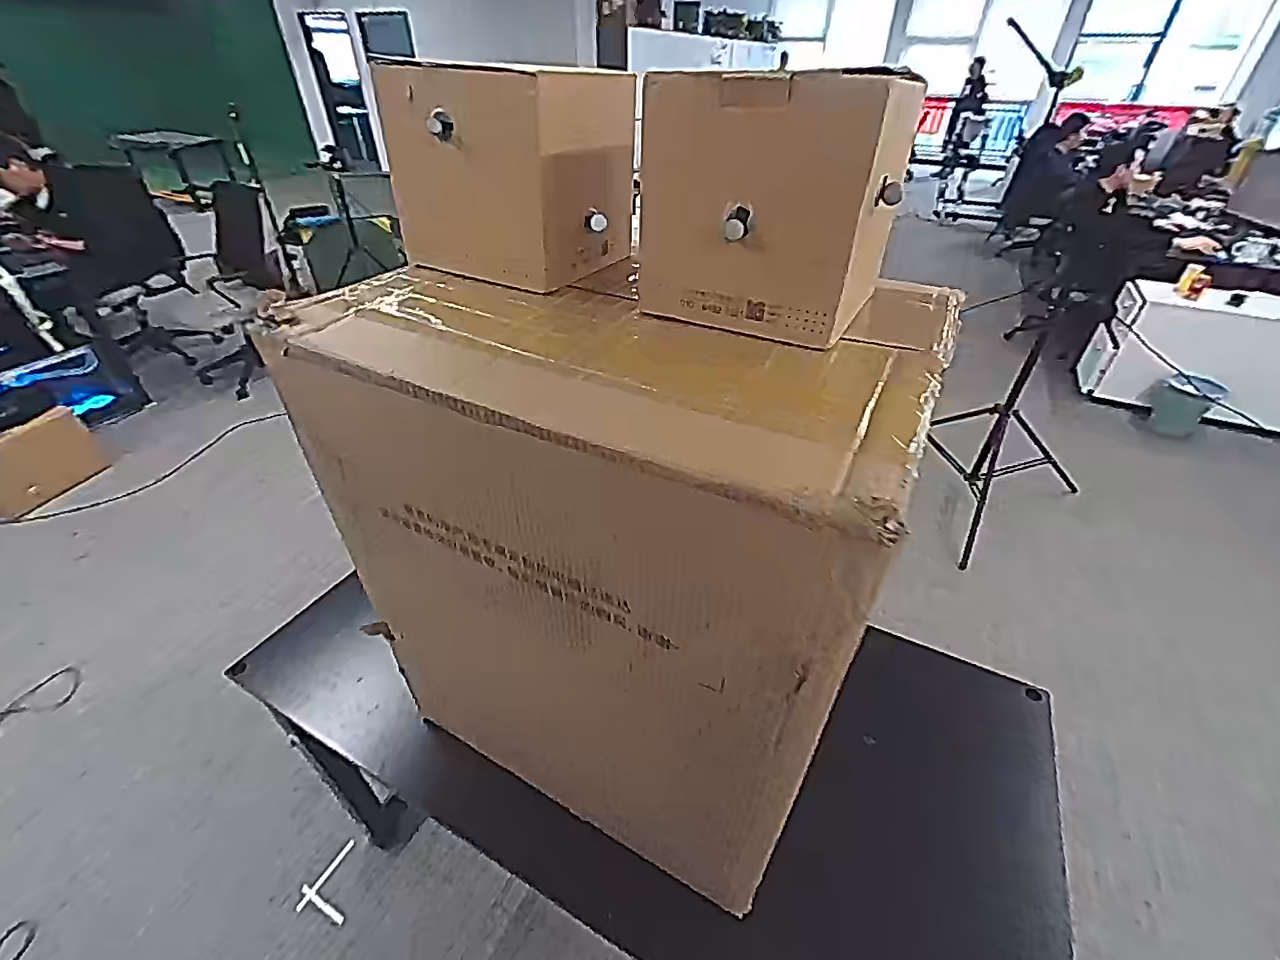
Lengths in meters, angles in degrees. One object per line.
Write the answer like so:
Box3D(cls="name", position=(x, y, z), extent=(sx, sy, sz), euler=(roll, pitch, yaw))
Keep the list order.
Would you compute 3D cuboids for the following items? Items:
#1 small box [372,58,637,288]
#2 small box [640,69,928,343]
Box3D(cls="small box", position=(-0.119, -0.300, 0.529), extent=(0.179, 0.176, 0.168), euler=(20, 40, 20))
Box3D(cls="small box", position=(0.113, -0.227, 0.442), extent=(0.168, 0.176, 0.179), euler=(19, 40, 22))
